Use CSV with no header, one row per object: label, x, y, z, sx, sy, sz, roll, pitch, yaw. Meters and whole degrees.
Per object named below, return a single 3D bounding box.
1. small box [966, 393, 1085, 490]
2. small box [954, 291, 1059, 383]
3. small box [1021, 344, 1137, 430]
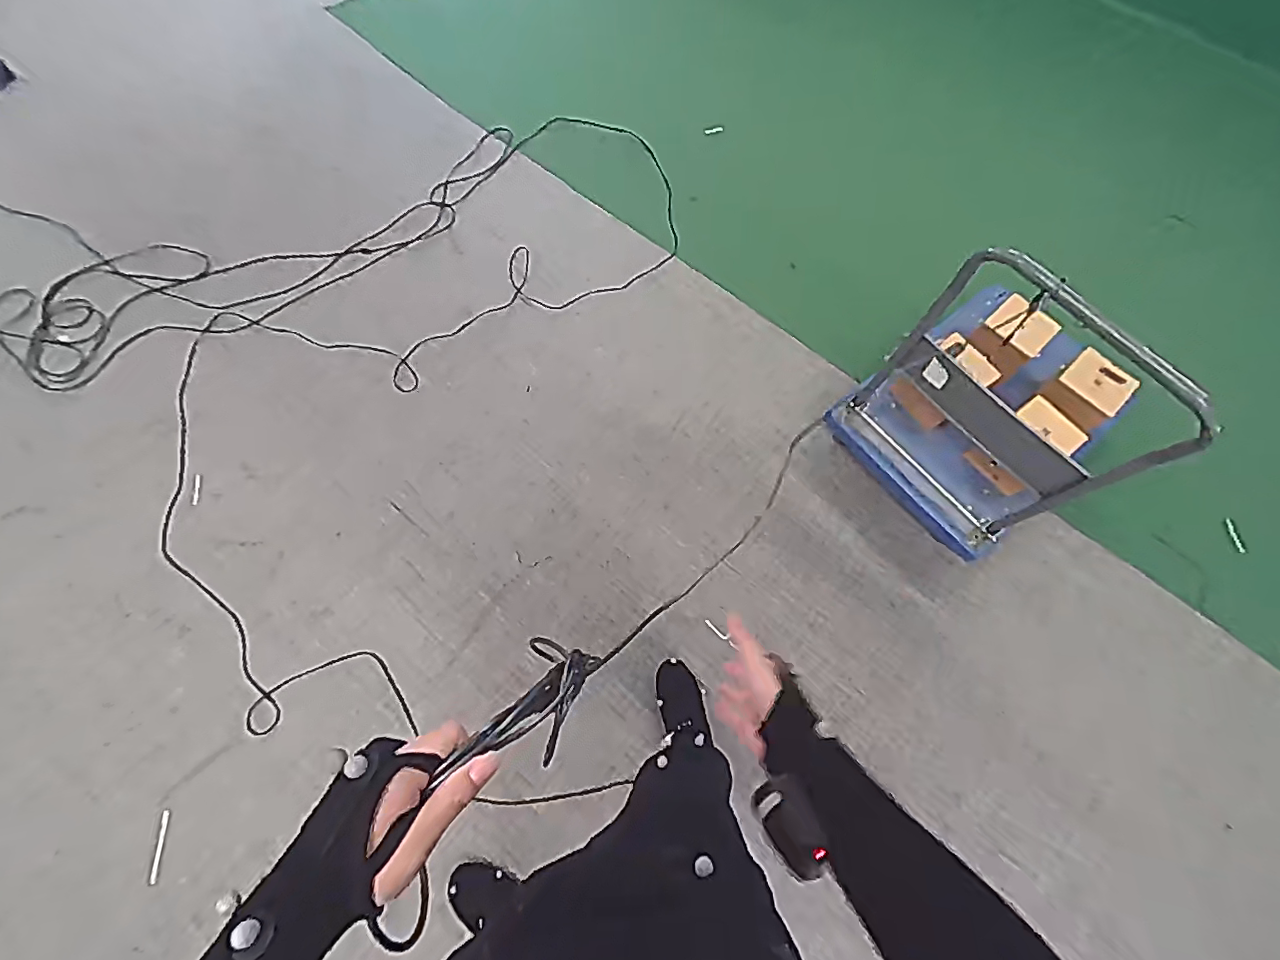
small box,1.055,-0.102,1.496,0.179,0.176,0.168,-35,73,-16
small box,1.096,-0.426,1.636,0.179,0.176,0.168,-39,75,-18
small box,1.266,-0.252,1.573,0.179,0.176,0.168,-39,74,-17
